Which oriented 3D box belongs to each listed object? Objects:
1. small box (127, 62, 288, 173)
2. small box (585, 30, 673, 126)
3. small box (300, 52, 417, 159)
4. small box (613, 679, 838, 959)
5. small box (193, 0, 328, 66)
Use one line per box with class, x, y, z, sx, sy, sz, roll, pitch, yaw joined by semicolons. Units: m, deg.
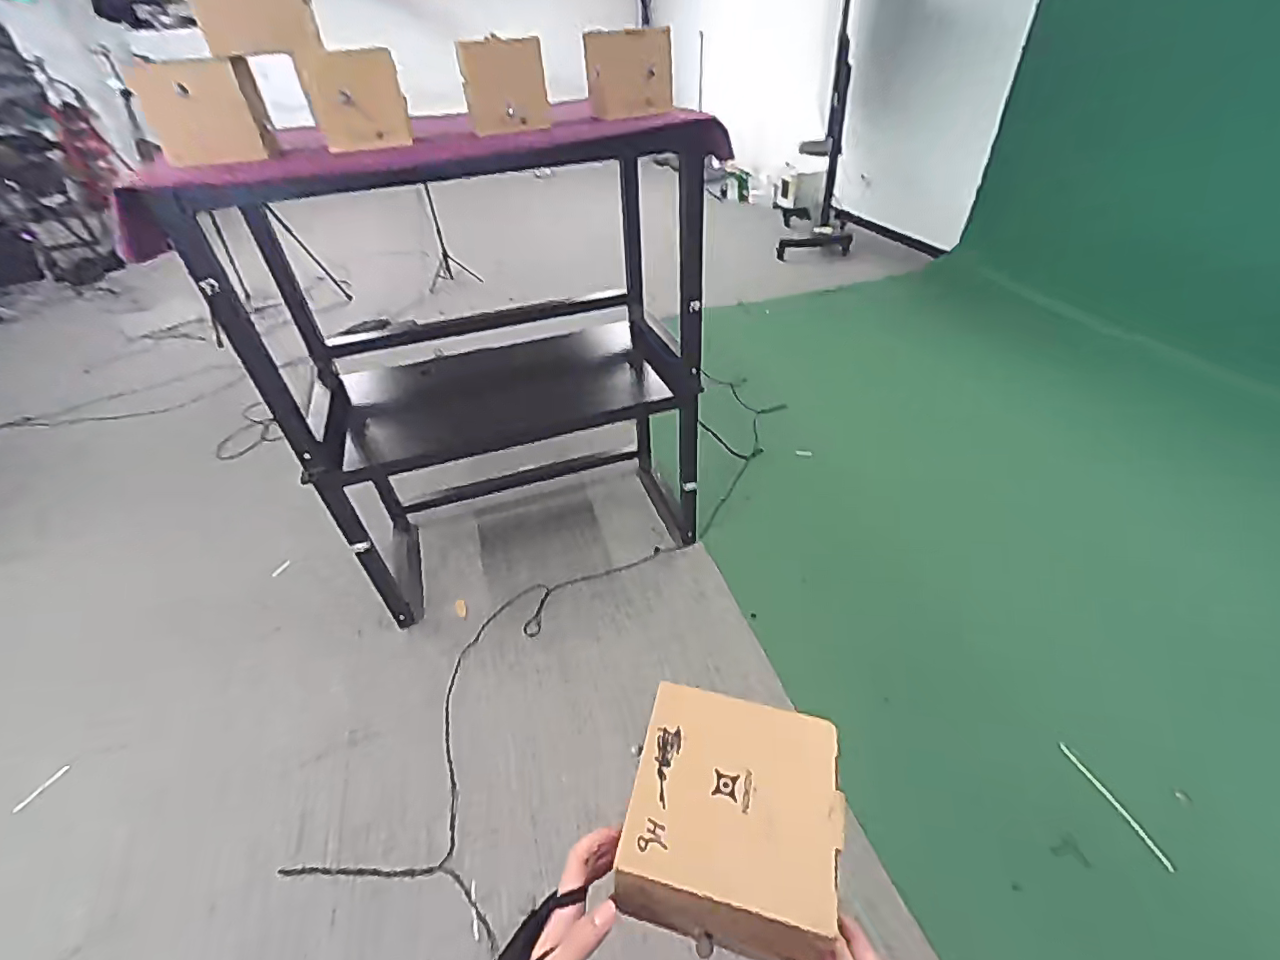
small box;-0.852;-0.728;1.088;0.179;0.176;0.168;-13;40;-13
small box;-0.025;-0.952;1.288;0.168;0.176;0.179;-14;39;-11
small box;-0.583;-0.791;1.145;0.168;0.176;0.179;-14;39;-11
small box;0.081;0.329;0.525;0.179;0.176;0.168;12;41;11
small box;-0.719;-0.895;1.021;0.179;0.176;0.168;-12;39;-11
